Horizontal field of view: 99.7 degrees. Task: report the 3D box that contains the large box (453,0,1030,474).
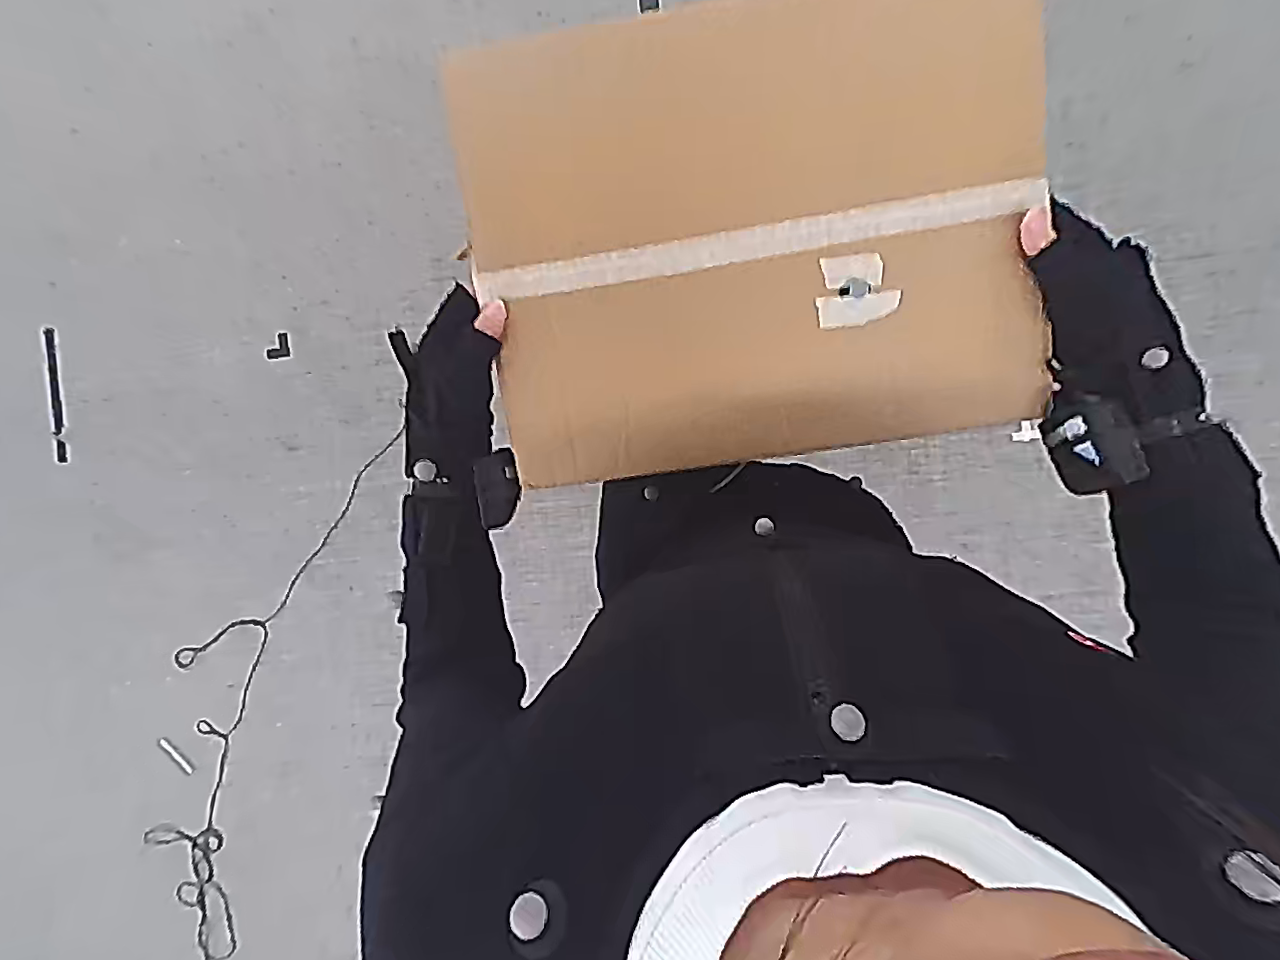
[{"bbox_3d":[0.085,-0.208,0.550,0.408,0.320,0.320,-8,100,4],"label":"large box"}]
